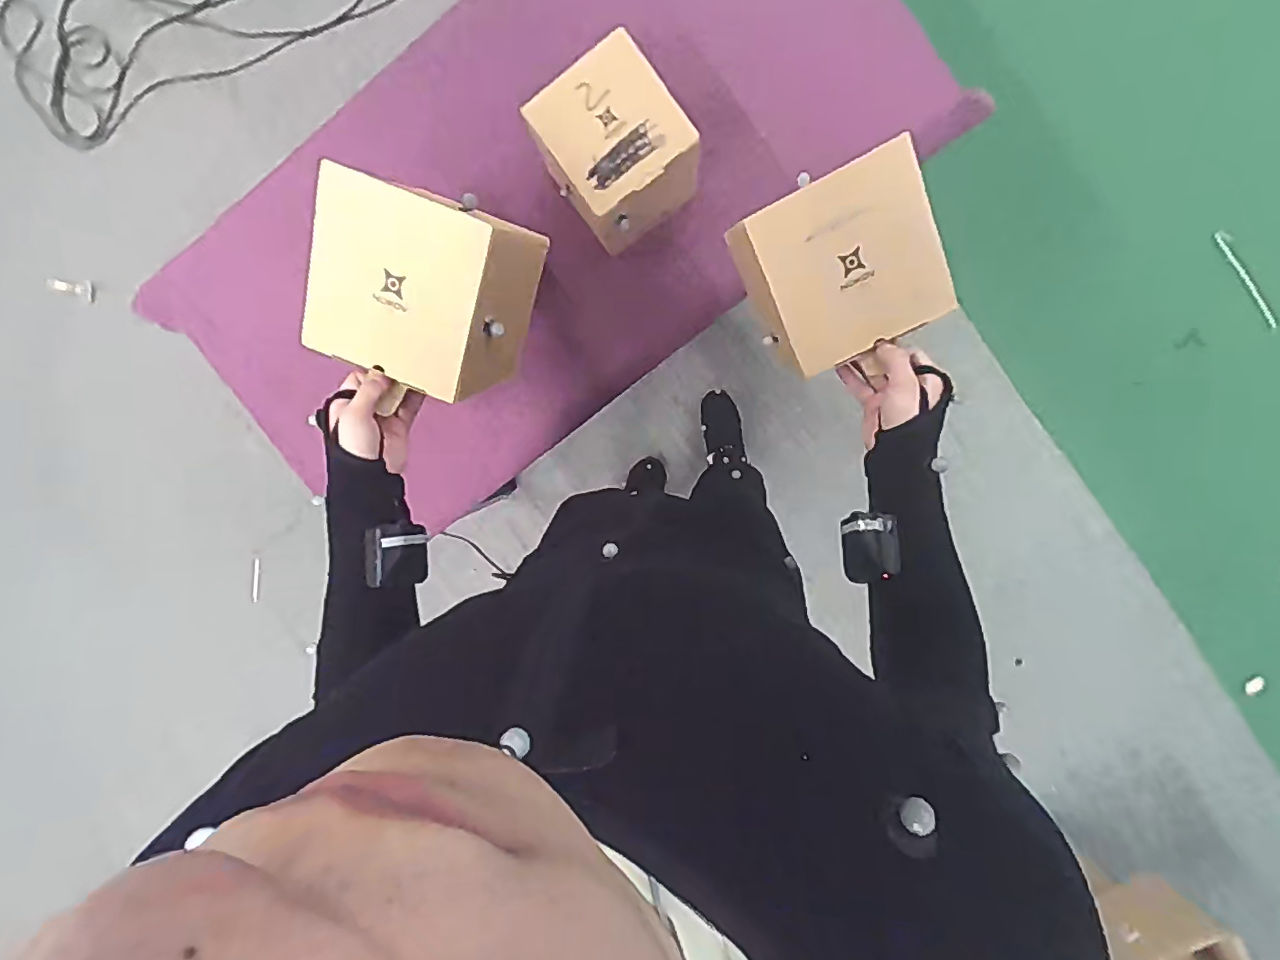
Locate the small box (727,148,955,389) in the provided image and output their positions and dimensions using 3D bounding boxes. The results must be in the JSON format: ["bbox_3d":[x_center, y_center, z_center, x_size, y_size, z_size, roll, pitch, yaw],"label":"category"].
[{"bbox_3d":[0.209,-0.226,0.602,0.168,0.176,0.179,-24,107,10],"label":"small box"}]

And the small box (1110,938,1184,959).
[{"bbox_3d":[1.252,1.240,1.266,0.179,0.176,0.168,-33,94,4],"label":"small box"}]

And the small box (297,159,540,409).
[{"bbox_3d":[-0.219,-0.202,0.572,0.168,0.176,0.179,22,113,-1],"label":"small box"}]
